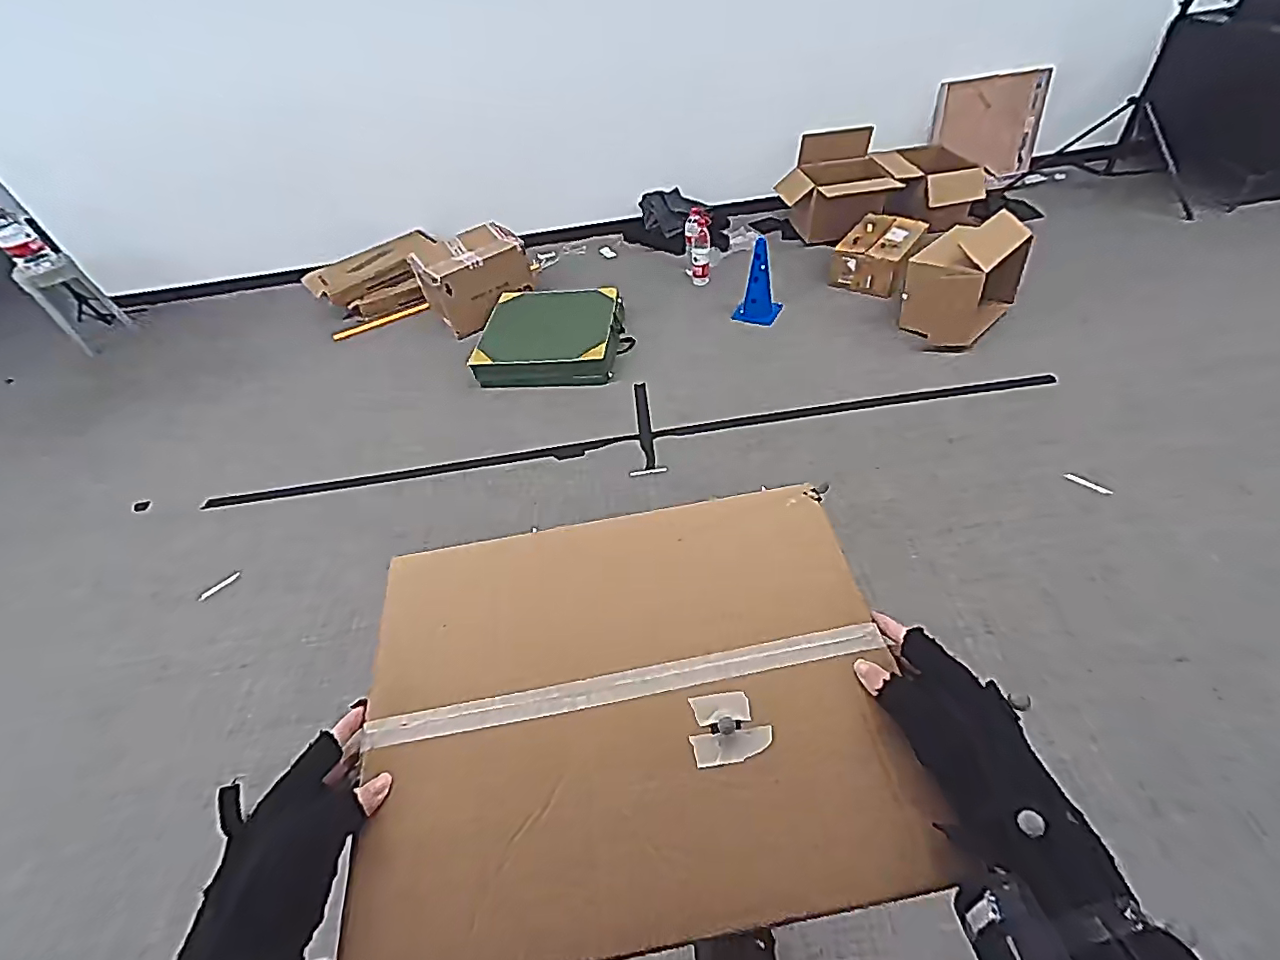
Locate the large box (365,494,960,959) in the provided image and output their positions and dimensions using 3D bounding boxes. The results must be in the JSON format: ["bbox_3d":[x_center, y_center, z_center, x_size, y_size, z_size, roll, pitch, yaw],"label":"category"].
[{"bbox_3d":[0.005,0.258,0.554,0.408,0.320,0.320,-10,53,-2],"label":"large box"}]
